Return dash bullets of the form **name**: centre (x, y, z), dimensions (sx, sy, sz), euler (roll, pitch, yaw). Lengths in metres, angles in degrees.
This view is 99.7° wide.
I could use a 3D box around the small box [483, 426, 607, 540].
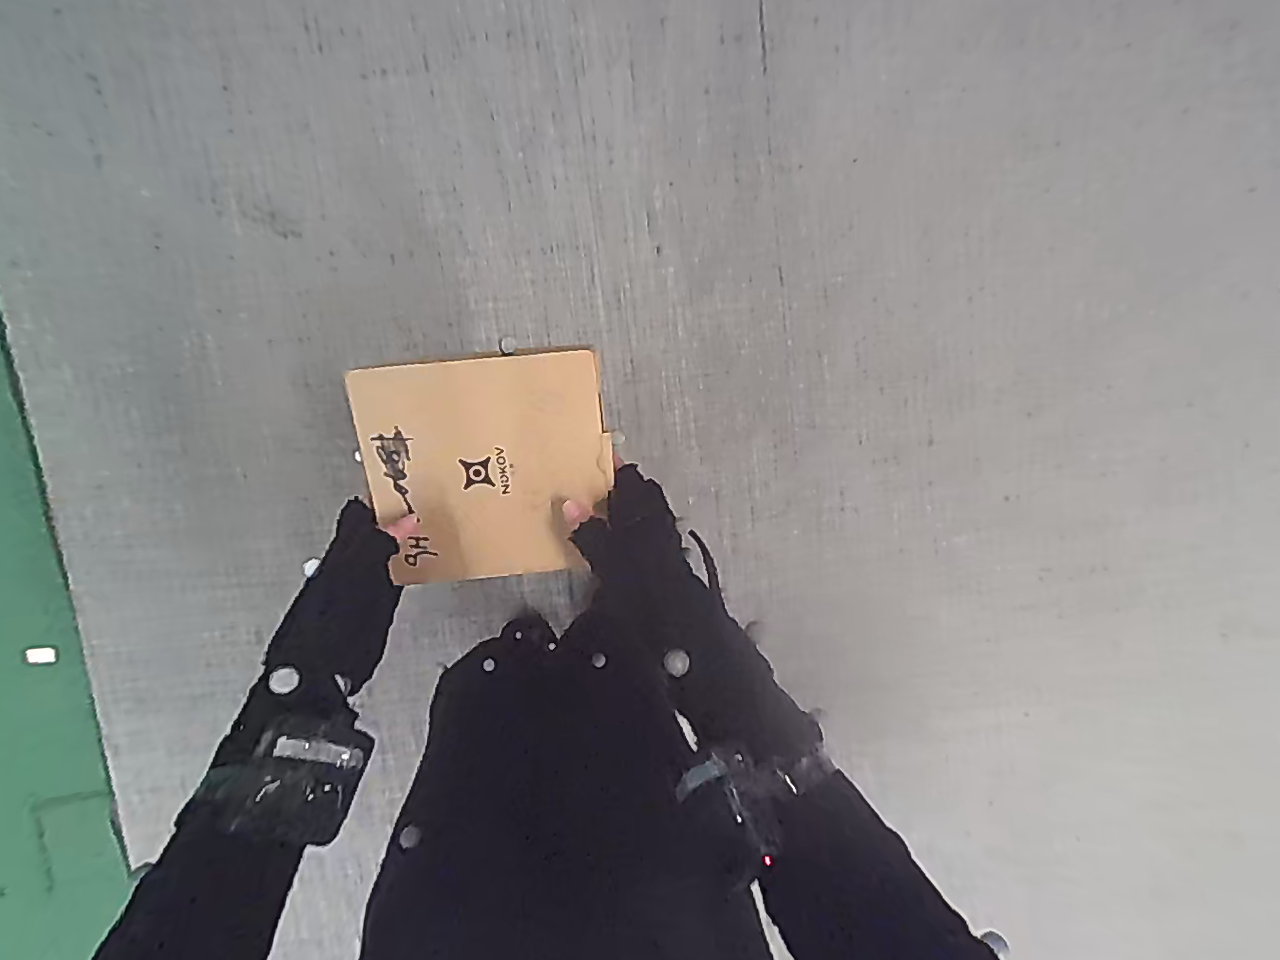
- **small box**: centre (-0.149, -0.003, 0.914), dimensions (0.179, 0.176, 0.168), euler (-6, 95, 0)
